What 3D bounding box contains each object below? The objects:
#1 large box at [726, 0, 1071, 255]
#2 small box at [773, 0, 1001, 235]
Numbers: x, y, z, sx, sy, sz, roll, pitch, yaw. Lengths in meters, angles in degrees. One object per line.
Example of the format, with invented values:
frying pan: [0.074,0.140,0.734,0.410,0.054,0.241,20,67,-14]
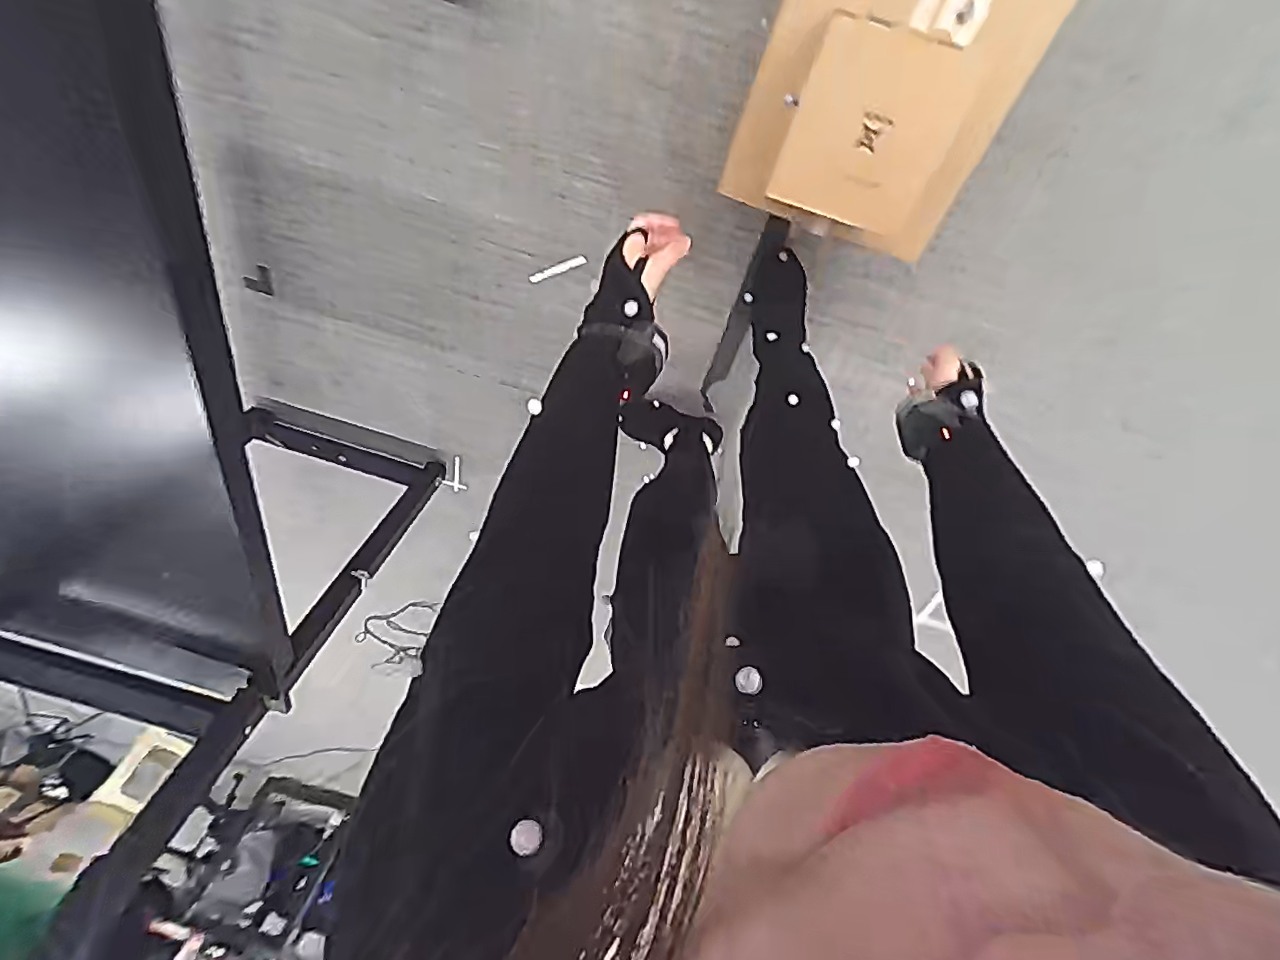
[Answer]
large box: [0.341,-0.607,0.784,0.320,0.320,0.408,18,127,-4]
small box: [0.262,-0.418,0.630,0.168,0.176,0.179,19,128,-1]
